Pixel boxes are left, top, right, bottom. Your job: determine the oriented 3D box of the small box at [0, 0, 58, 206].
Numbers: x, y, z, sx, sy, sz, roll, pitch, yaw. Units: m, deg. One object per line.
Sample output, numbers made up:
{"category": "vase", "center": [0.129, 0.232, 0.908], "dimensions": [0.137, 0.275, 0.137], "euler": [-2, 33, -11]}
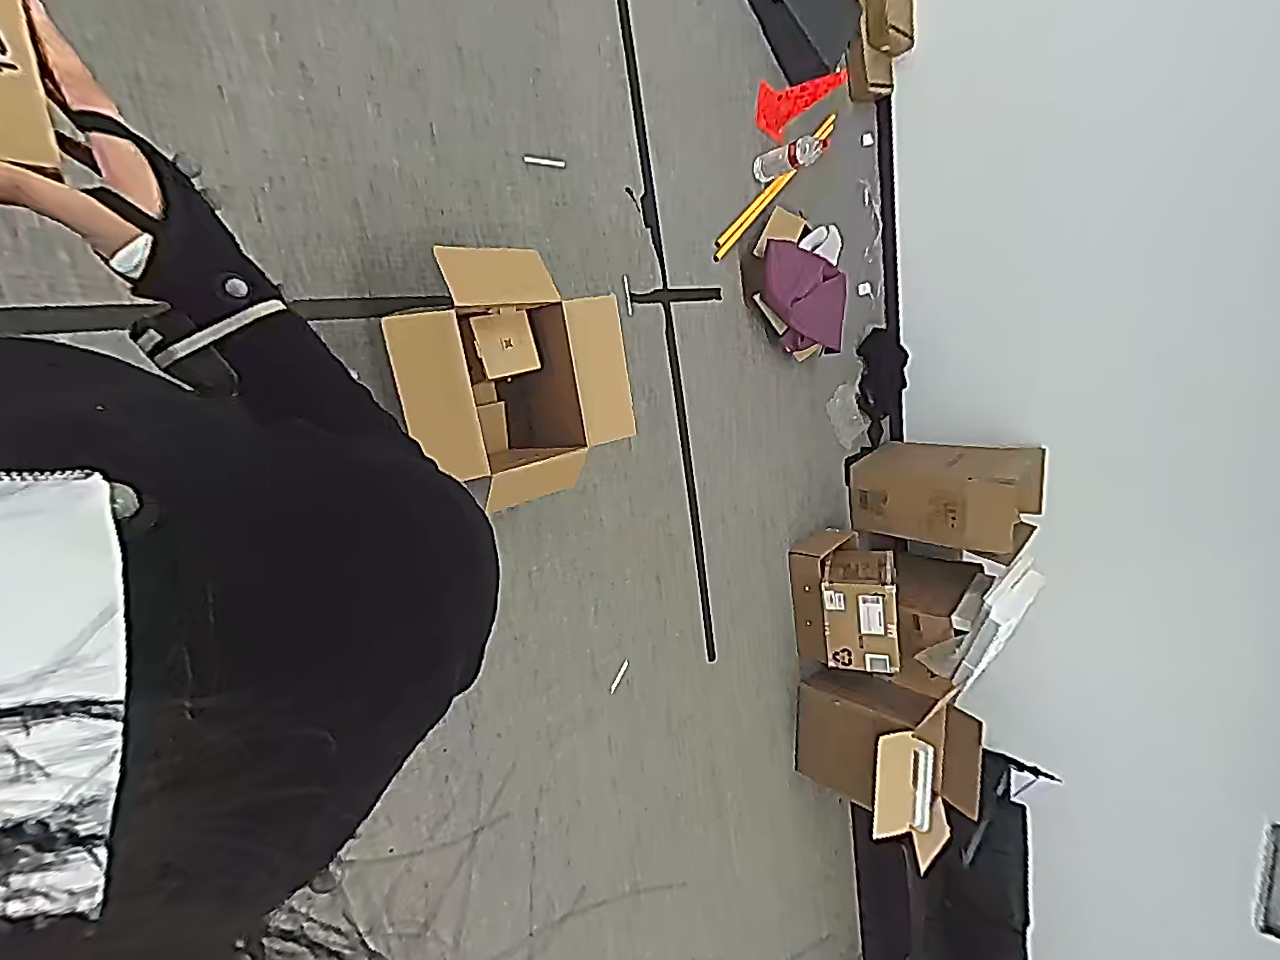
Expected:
{"category": "small box", "center": [-0.464, -0.261, 0.294], "dimensions": [0.179, 0.176, 0.168], "euler": [-14, 111, -43]}
